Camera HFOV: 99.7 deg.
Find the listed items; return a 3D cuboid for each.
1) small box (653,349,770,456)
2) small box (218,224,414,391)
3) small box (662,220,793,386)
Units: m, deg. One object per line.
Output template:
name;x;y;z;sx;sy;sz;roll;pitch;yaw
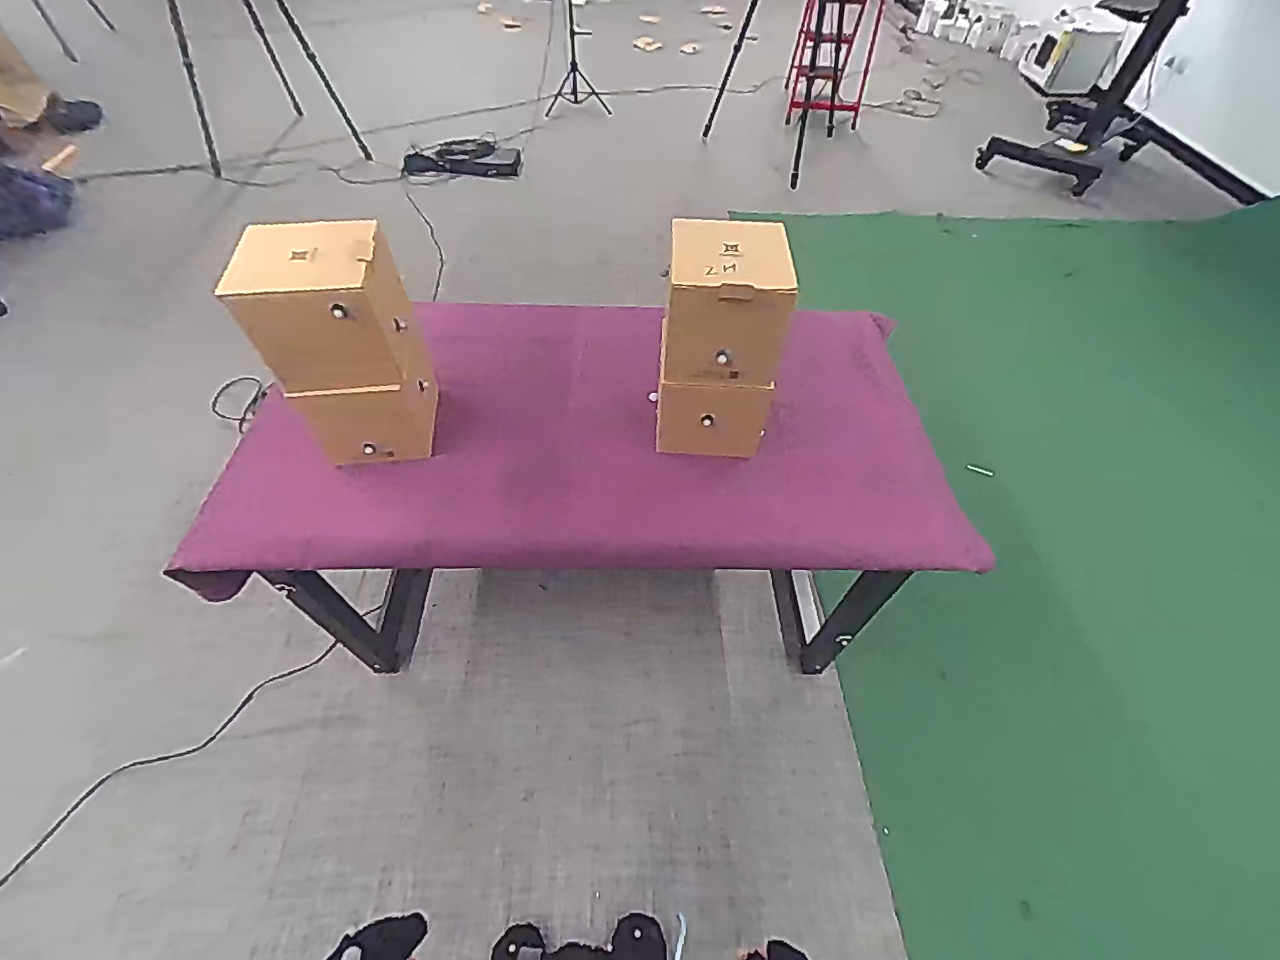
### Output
small box;0.119;-0.158;0.936;0.179;0.176;0.168;5;51;3
small box;-0.450;-0.245;0.785;0.179;0.176;0.168;-6;54;-7
small box;0.120;-0.263;0.812;0.168;0.176;0.179;2;53;1
